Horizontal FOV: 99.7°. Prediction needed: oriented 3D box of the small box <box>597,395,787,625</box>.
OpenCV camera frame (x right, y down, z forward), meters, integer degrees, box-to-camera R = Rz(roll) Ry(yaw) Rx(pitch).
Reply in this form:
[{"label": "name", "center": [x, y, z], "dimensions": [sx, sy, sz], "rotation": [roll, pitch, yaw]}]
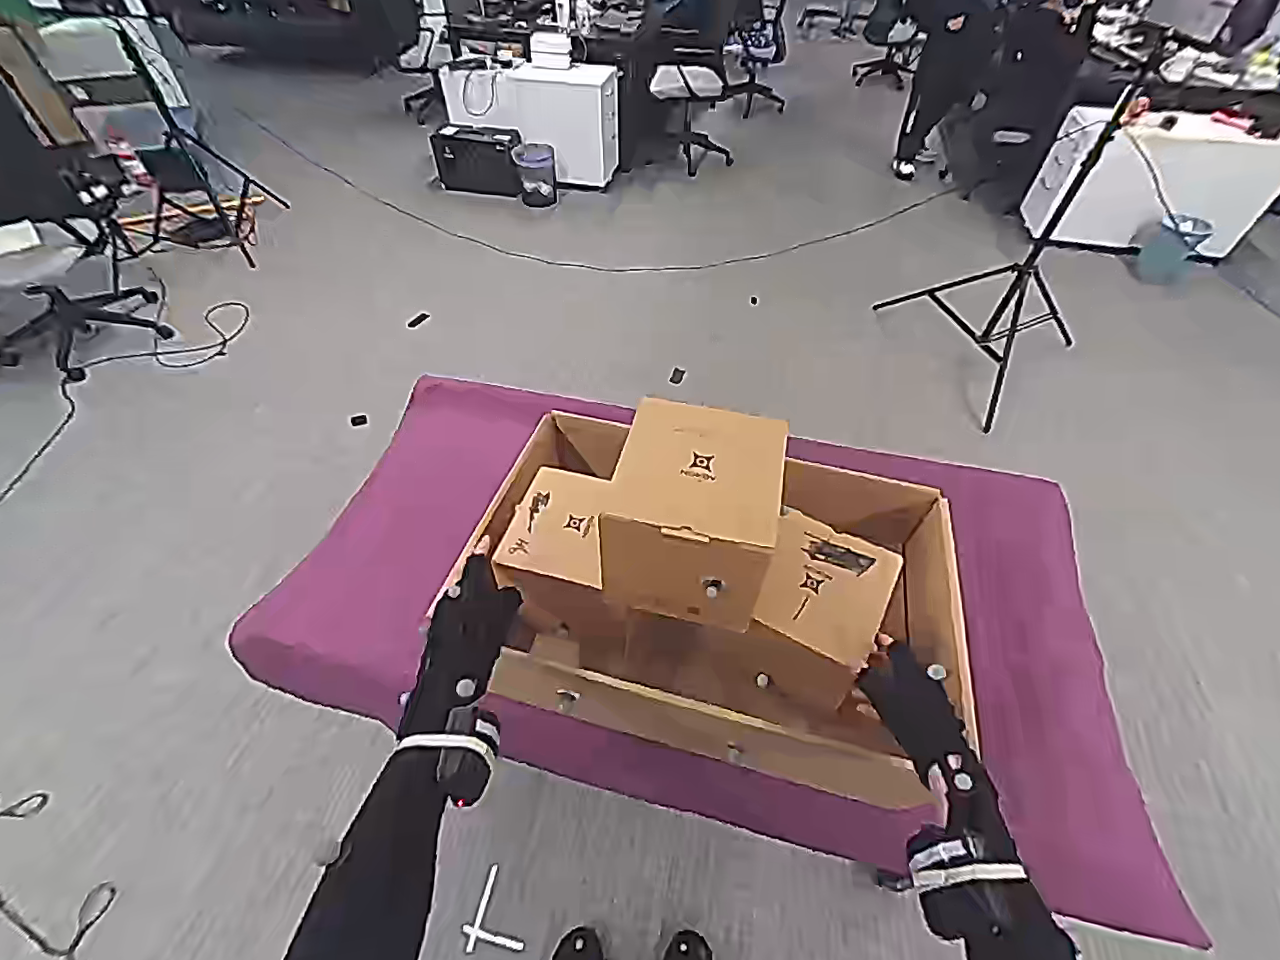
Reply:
[{"label": "small box", "center": [0.058, 0.036, 0.599], "dimensions": [0.168, 0.176, 0.179], "rotation": [11, 49, 7]}]
